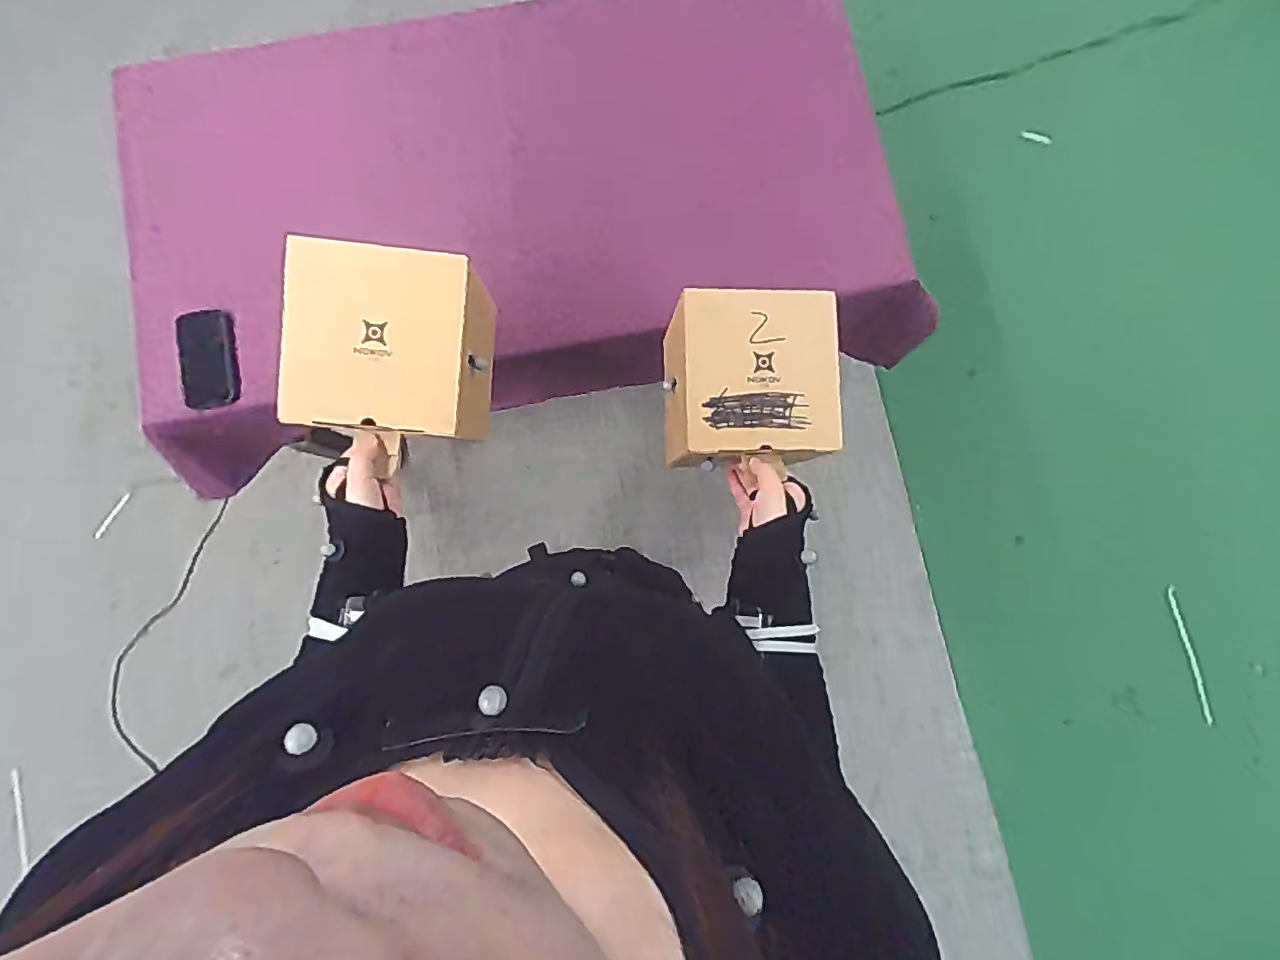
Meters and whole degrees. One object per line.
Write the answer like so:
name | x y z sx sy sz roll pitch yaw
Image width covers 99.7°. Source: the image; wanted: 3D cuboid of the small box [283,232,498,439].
small box | -0.254 -0.140 0.591 0.168 0.176 0.179 6 93 -7
